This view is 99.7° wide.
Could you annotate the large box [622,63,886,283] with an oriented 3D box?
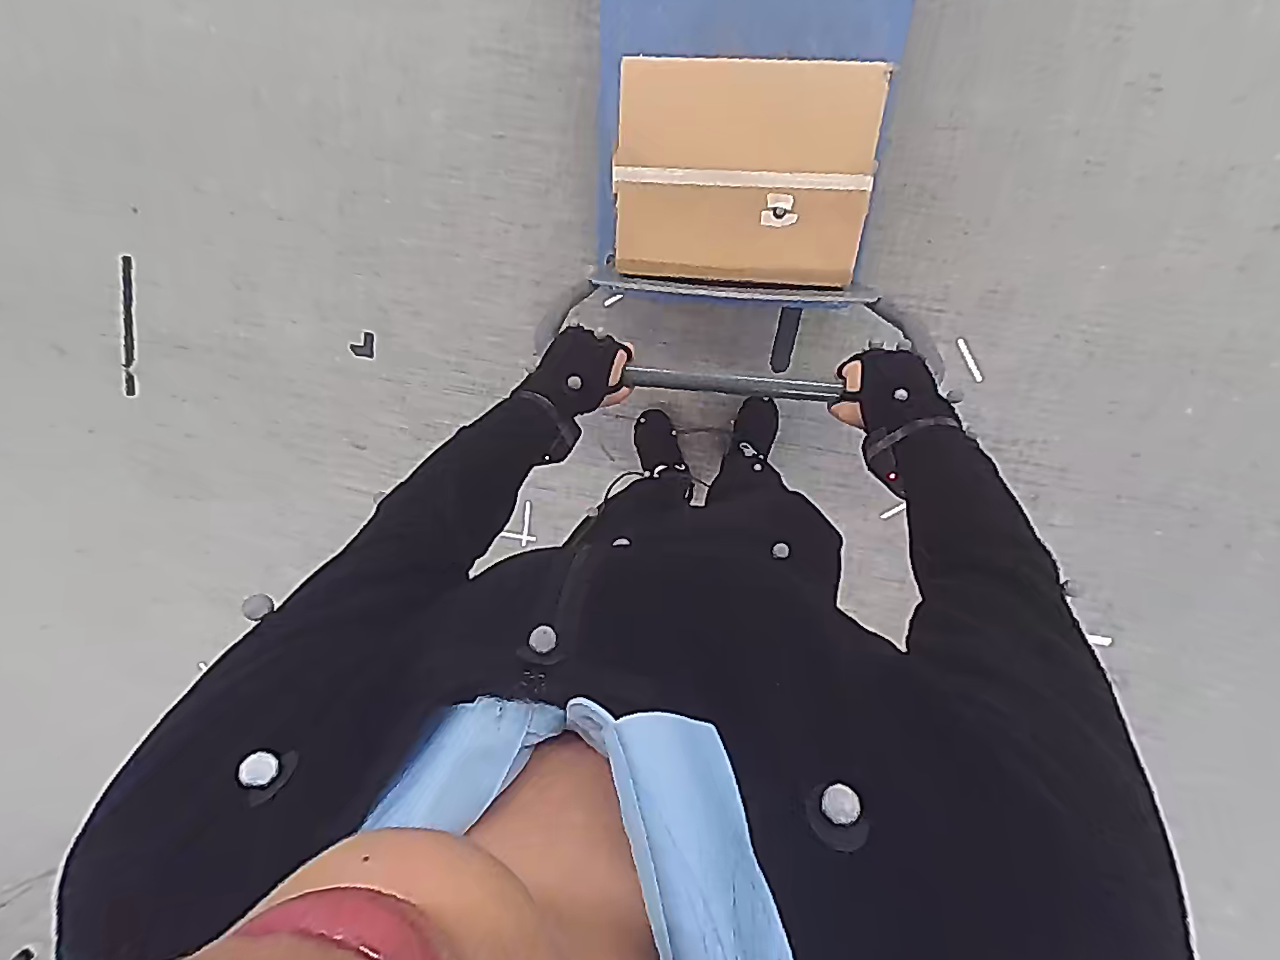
[{"bbox_3d":[0.183,-0.552,1.023,0.408,0.320,0.320,5,115,4],"label":"large box"}]
